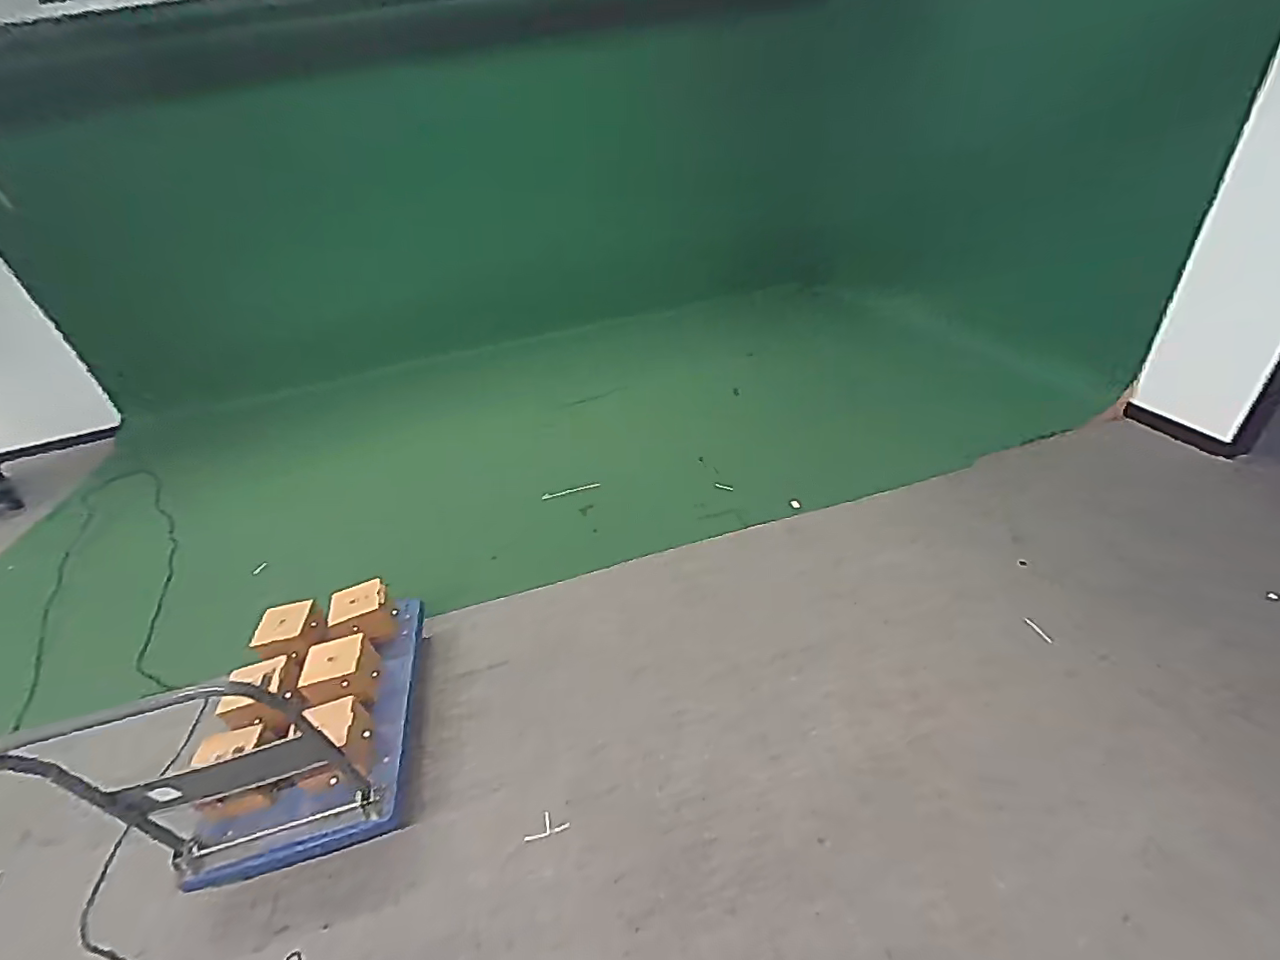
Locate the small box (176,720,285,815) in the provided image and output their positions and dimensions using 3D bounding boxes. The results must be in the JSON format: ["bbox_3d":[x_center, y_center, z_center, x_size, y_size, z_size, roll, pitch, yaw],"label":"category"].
[{"bbox_3d":[-1.161,0.830,1.559,0.179,0.176,0.168,-13,35,-4],"label":"small box"}]

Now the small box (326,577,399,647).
[{"bbox_3d":[-1.014,0.489,1.989,0.179,0.176,0.168,-13,39,-7],"label":"small box"}]

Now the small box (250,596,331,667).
[{"bbox_3d":[-1.257,0.555,1.962,0.168,0.176,0.179,-11,36,-5],"label":"small box"}]

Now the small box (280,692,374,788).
[{"bbox_3d":[-0.907,0.765,1.590,0.179,0.176,0.168,-15,36,-9],"label":"small box"}]
